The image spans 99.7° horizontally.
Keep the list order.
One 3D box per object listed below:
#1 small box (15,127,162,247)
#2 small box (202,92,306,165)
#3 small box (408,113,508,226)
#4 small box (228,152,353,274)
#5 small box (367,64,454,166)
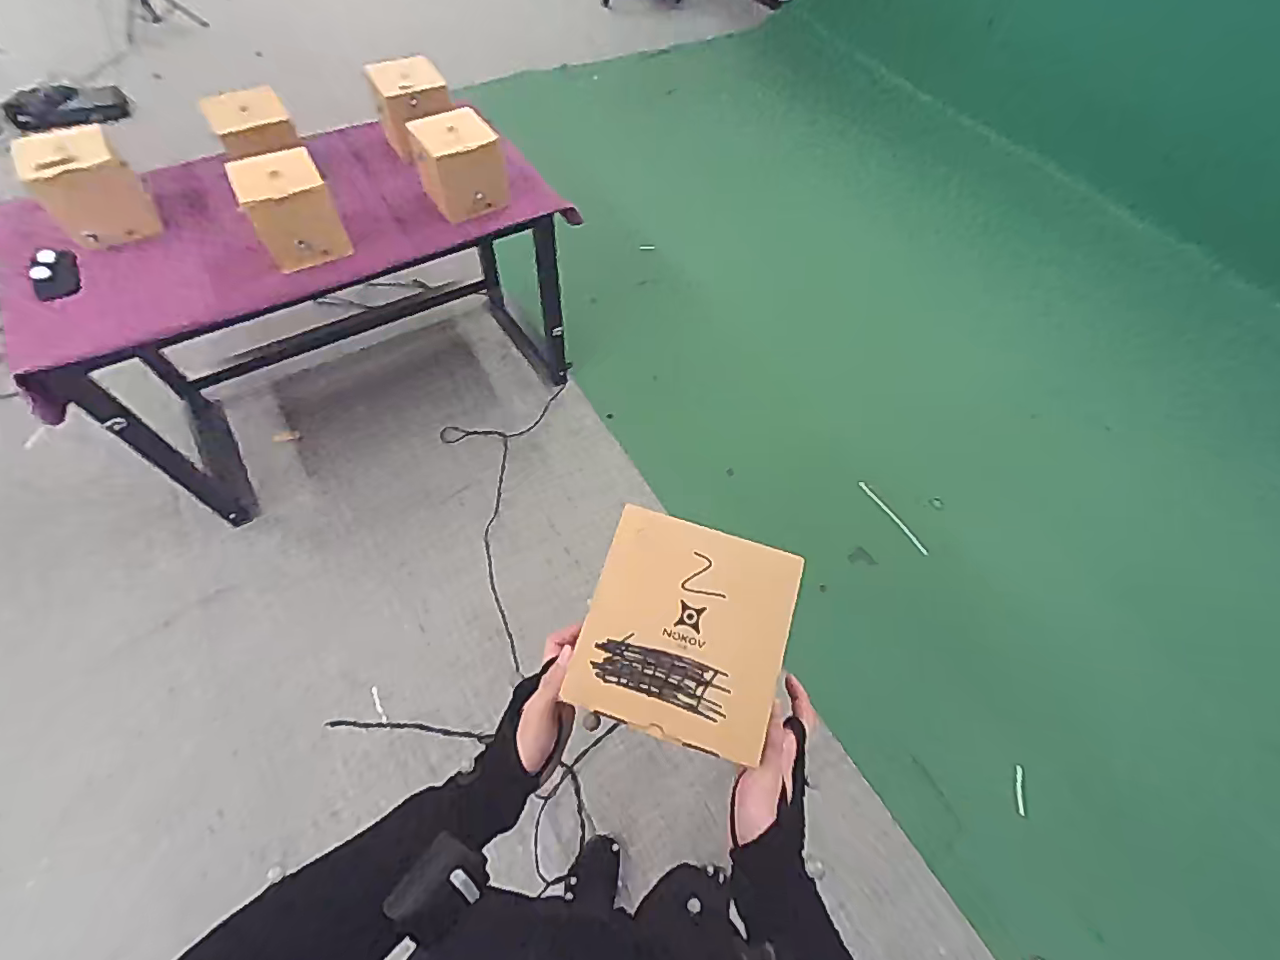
[{"bbox_3d":[-1.229,-0.650,1.218,0.168,0.176,0.179,-28,64,-20],"label":"small box"},{"bbox_3d":[-0.941,-0.829,1.353,0.168,0.176,0.179,-28,65,-19],"label":"small box"},{"bbox_3d":[-0.448,-0.773,1.350,0.168,0.176,0.179,-29,65,-19],"label":"small box"},{"bbox_3d":[-0.782,-0.601,1.222,0.168,0.176,0.179,-26,63,-19],"label":"small box"},{"bbox_3d":[-0.615,-0.998,1.482,0.168,0.176,0.179,-27,64,-18],"label":"small box"}]
